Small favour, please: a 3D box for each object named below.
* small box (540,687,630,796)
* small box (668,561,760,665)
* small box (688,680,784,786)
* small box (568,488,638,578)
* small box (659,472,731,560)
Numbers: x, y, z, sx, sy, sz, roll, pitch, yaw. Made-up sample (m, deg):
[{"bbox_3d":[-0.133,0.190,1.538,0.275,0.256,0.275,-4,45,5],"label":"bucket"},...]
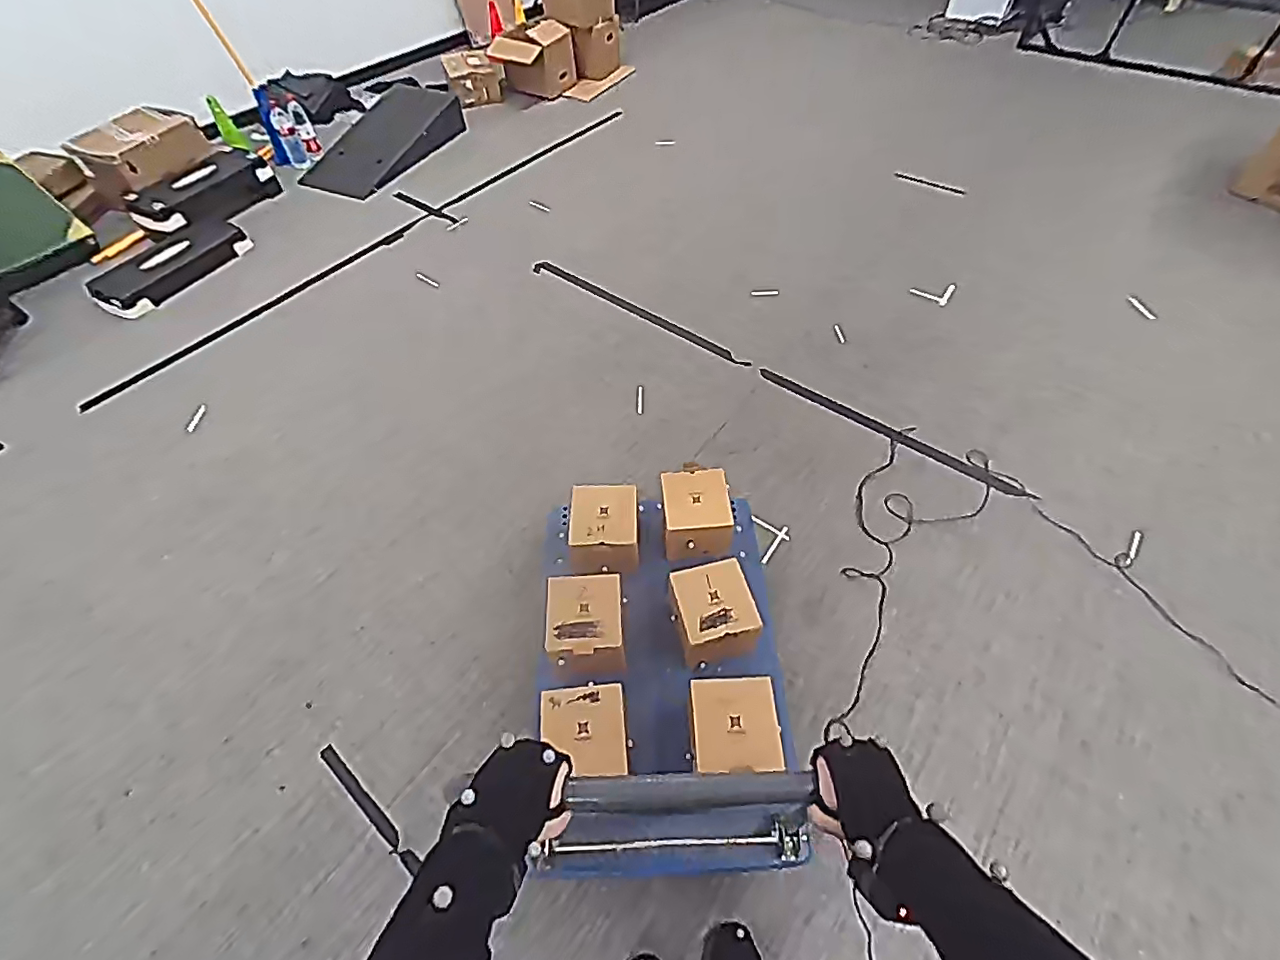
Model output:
[{"bbox_3d":[-0.109,0.543,1.114,0.168,0.176,0.179,-5,55,-3],"label":"small box"},{"bbox_3d":[0.166,0.319,1.270,0.168,0.176,0.179,-12,54,-7],"label":"small box"},{"bbox_3d":[0.189,0.528,1.119,0.168,0.176,0.179,-2,53,0],"label":"small box"},{"bbox_3d":[-0.090,0.139,1.405,0.168,0.176,0.179,-1,55,1],"label":"small box"},{"bbox_3d":[0.140,0.101,1.430,0.168,0.176,0.179,-5,54,-2],"label":"small box"}]
